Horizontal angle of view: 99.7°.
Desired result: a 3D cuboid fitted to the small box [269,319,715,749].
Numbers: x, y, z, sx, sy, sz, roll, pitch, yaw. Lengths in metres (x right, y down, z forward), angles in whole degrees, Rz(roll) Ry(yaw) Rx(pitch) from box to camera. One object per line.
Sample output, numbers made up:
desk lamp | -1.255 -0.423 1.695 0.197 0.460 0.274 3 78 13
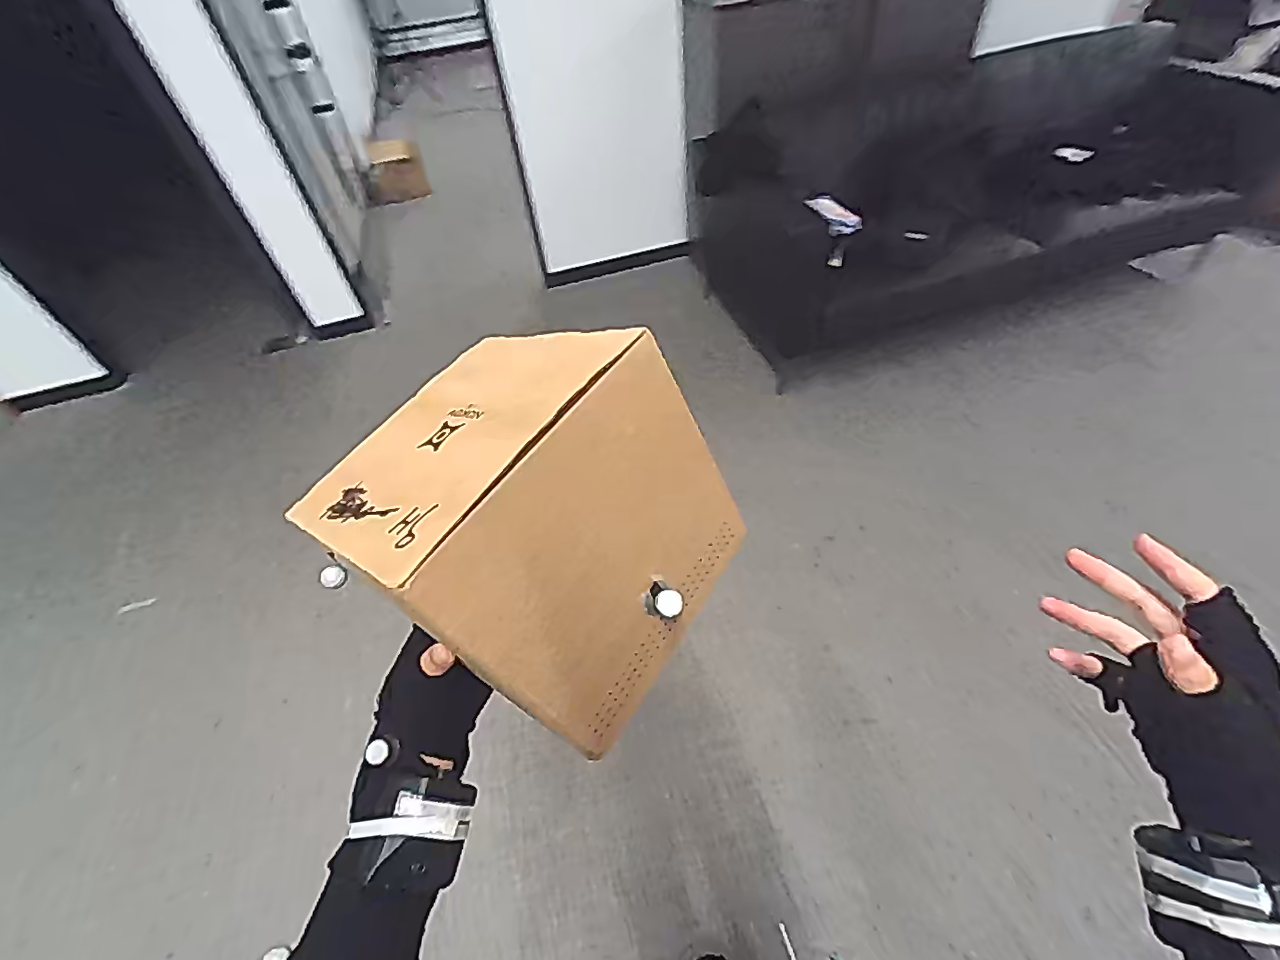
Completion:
small box | -0.073 0.023 0.337 0.168 0.176 0.179 11 52 44
